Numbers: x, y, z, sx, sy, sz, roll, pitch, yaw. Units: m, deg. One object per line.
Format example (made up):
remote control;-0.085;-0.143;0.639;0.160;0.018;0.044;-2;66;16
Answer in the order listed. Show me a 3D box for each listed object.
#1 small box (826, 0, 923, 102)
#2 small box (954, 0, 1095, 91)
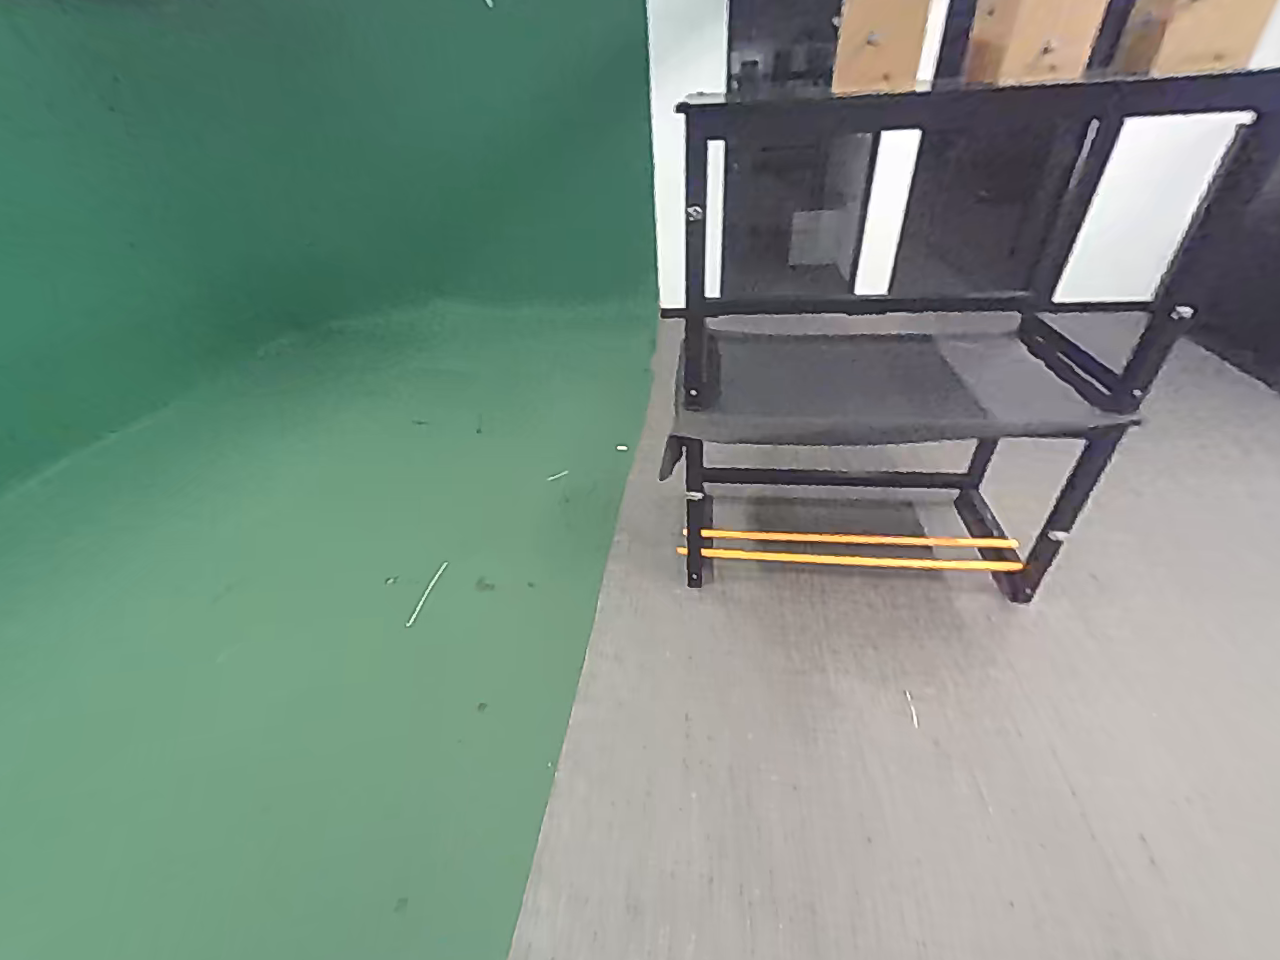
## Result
small box;0.507;-0.940;1.188;0.168;0.176;0.179;6;37;14
small box;0.796;-0.926;1.136;0.168;0.176;0.179;-2;36;4
